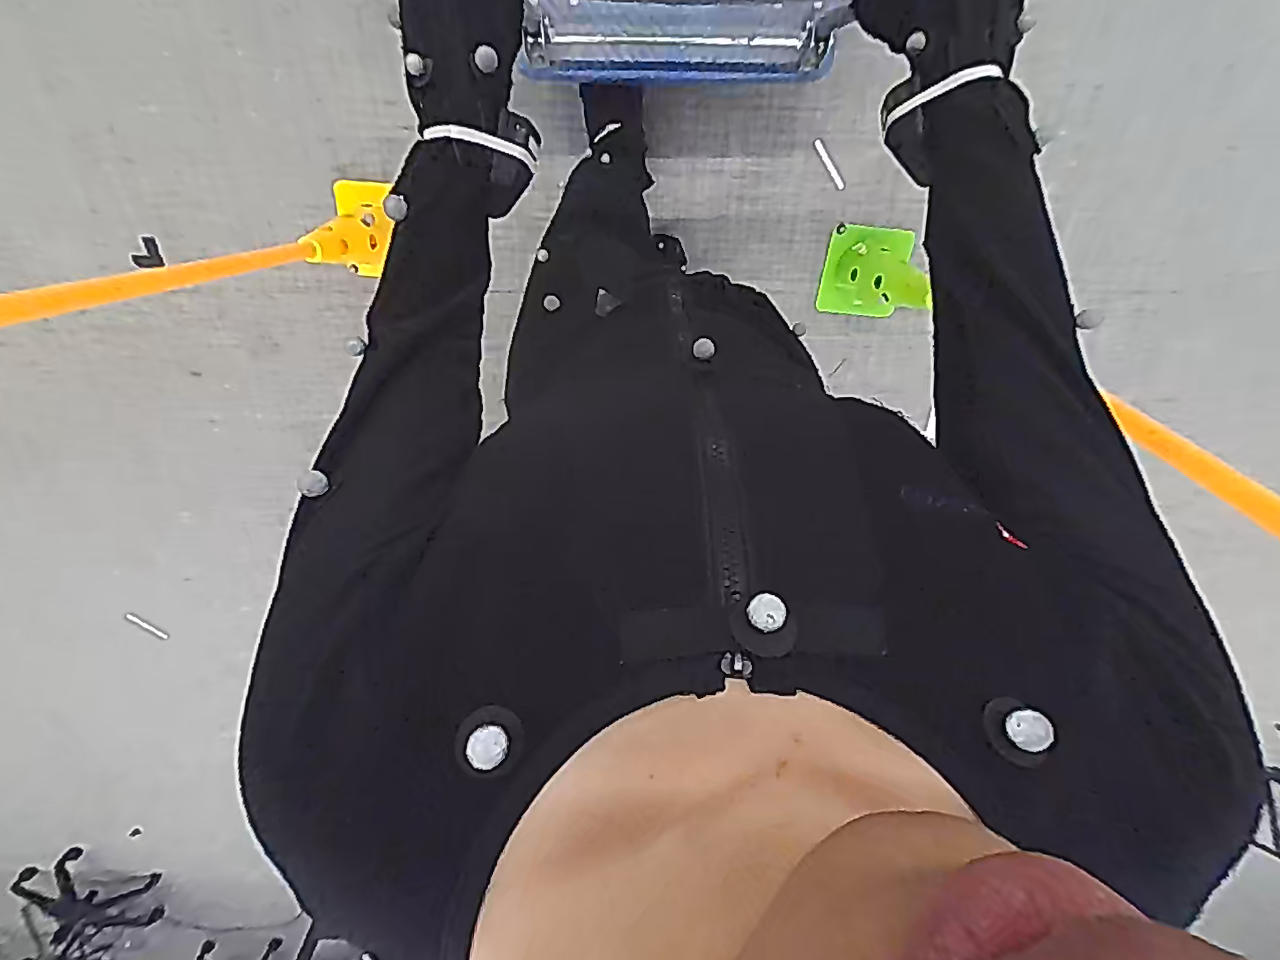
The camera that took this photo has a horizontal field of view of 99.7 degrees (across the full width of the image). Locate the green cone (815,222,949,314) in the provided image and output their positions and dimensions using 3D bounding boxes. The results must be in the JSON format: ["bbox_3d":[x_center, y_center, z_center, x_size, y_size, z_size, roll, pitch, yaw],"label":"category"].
[{"bbox_3d":[0.545,-0.428,1.164,0.202,0.368,0.200,3,119,-4],"label":"green cone"}]
